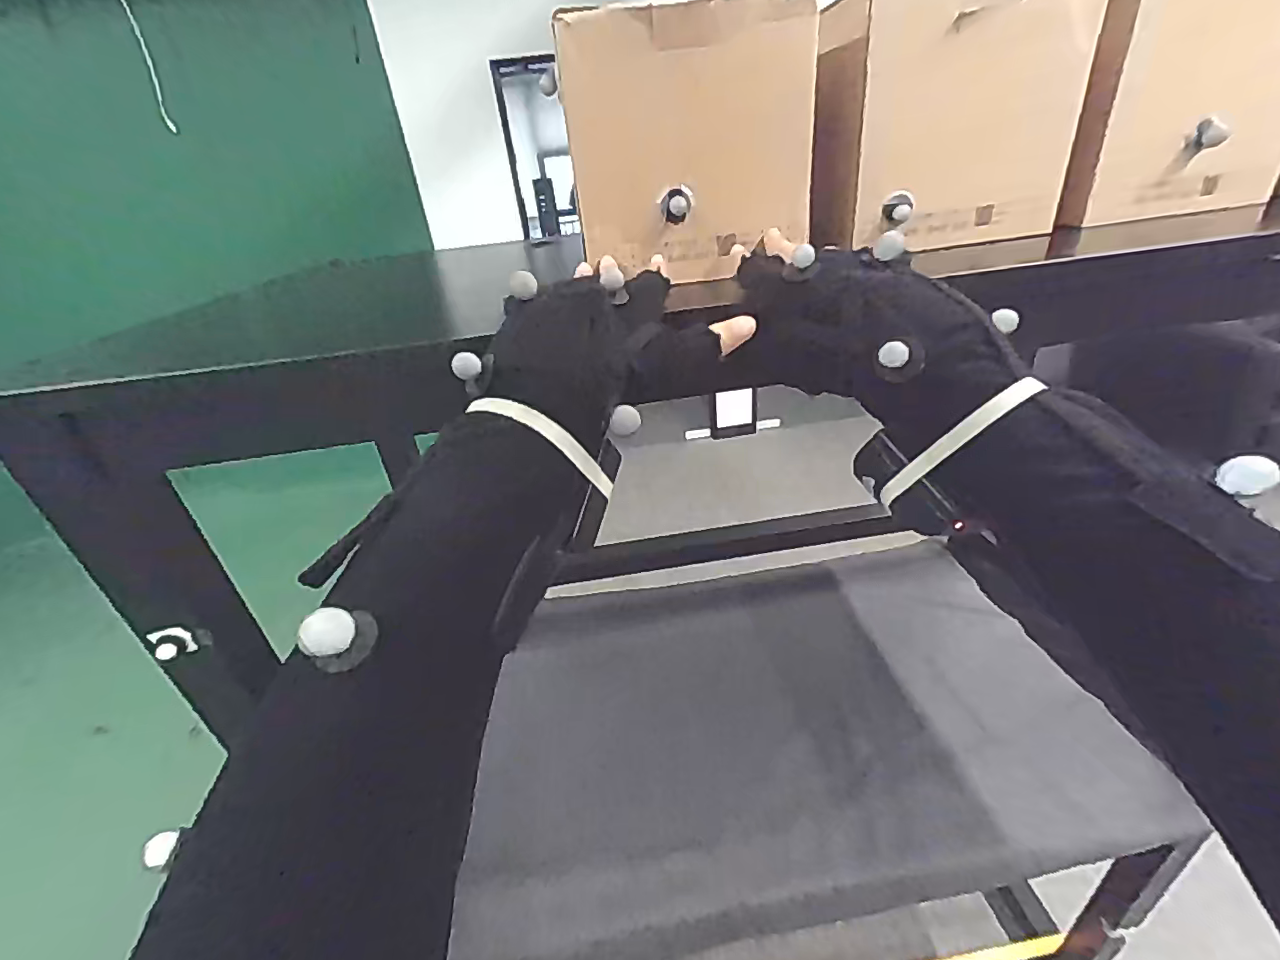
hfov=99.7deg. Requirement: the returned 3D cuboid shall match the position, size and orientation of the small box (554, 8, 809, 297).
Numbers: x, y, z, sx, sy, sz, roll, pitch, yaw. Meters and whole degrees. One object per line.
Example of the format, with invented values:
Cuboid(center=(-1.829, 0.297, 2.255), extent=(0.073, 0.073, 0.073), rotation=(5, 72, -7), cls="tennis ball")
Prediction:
Cuboid(center=(0.026, -0.256, 0.450), extent=(0.168, 0.176, 0.179), rotation=(-8, 30, -2), cls="small box")
